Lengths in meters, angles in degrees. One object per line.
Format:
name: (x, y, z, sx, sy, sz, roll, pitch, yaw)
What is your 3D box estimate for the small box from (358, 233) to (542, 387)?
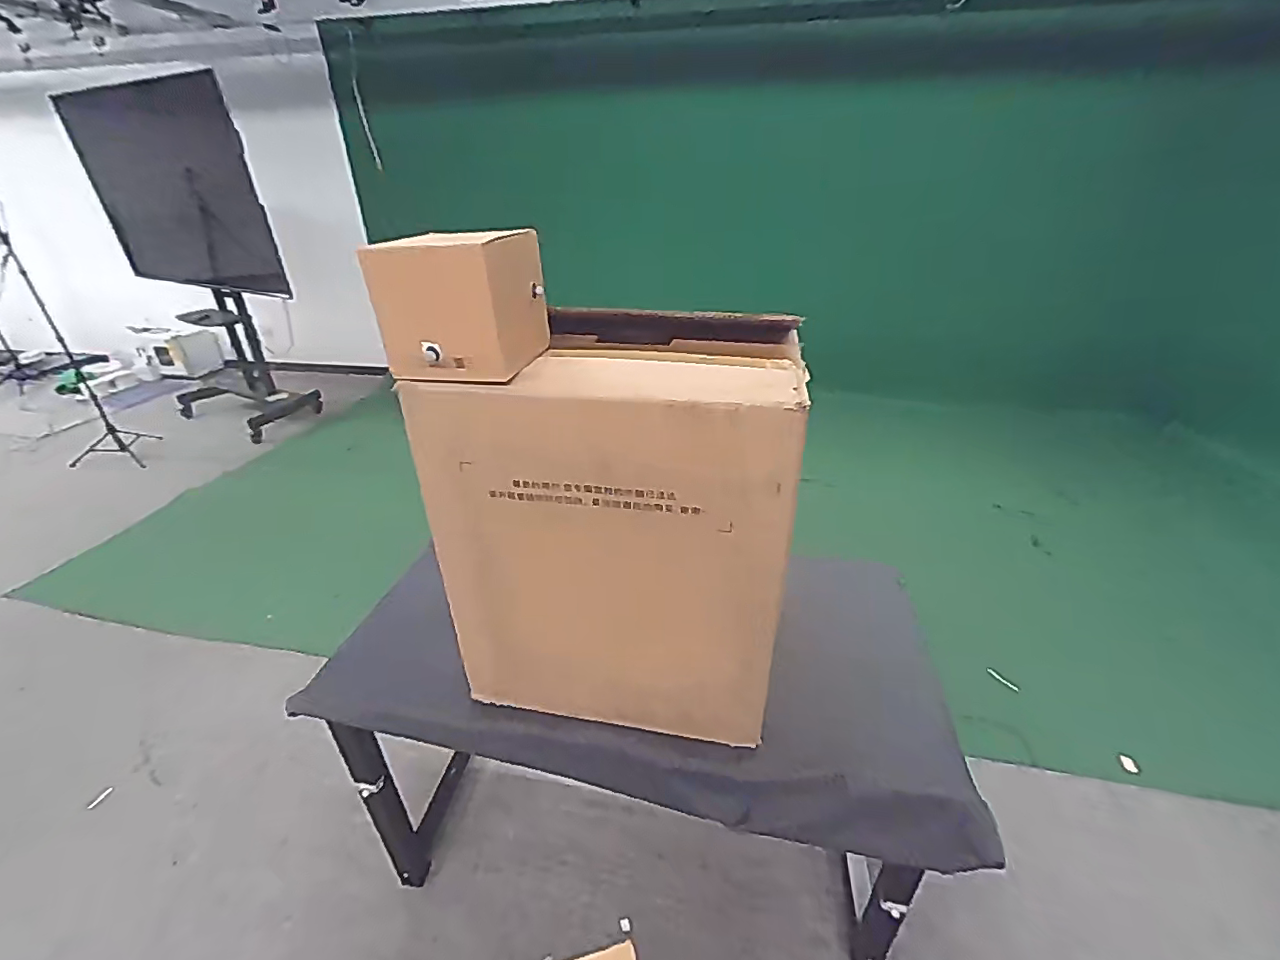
small box: (-0.241, -0.236, 0.741, 0.168, 0.176, 0.179, 1, 30, 10)
